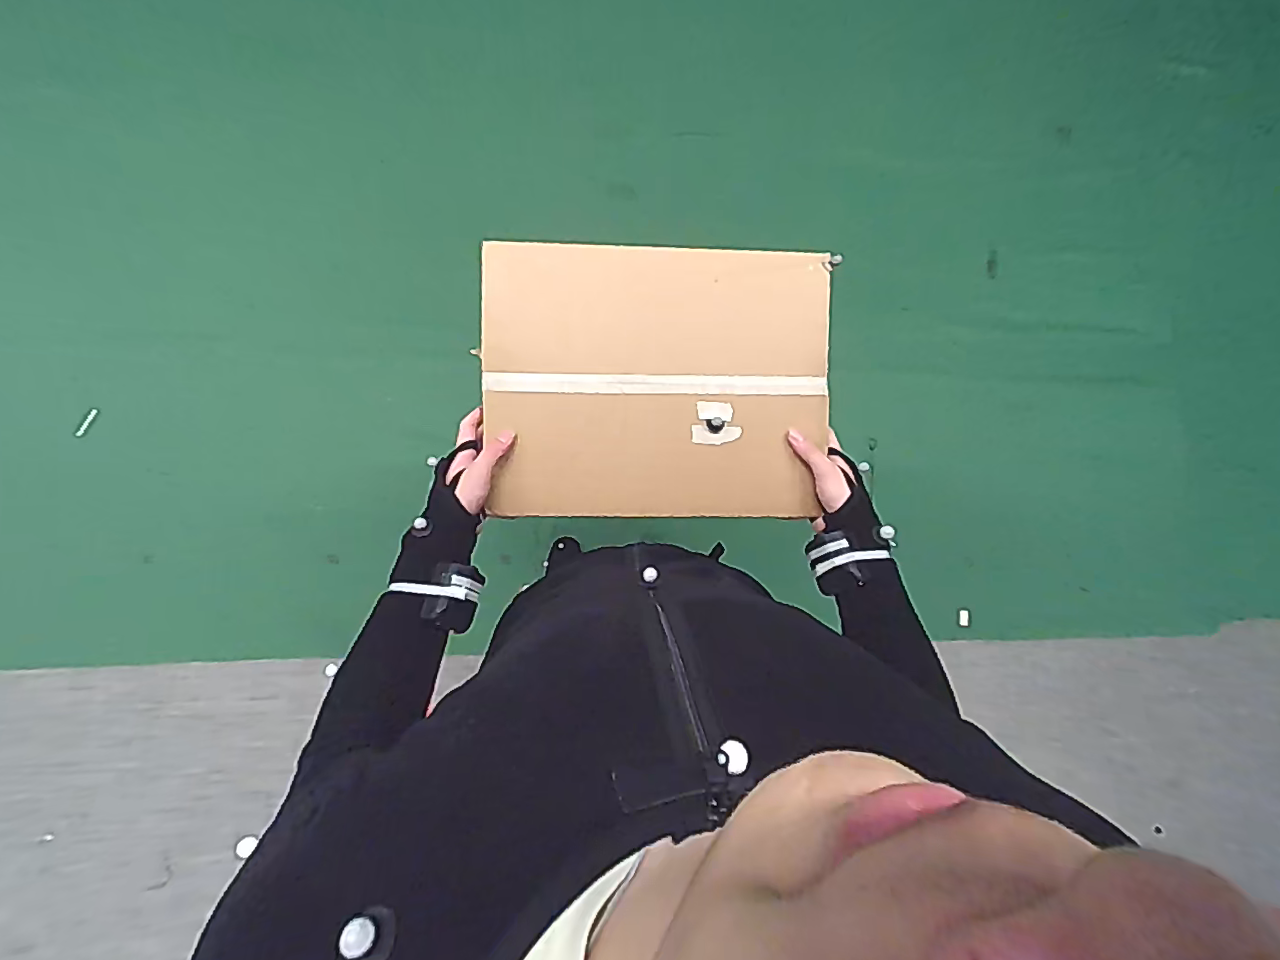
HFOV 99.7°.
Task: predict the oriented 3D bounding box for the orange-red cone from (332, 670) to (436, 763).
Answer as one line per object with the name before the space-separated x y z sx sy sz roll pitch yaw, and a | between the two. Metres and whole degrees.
orange-red cone | -0.681 0.630 1.370 0.199 0.360 0.198 7 83 -3

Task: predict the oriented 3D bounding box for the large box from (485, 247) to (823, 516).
large box | 0.009 -0.123 0.787 0.408 0.320 0.320 0 94 -5
